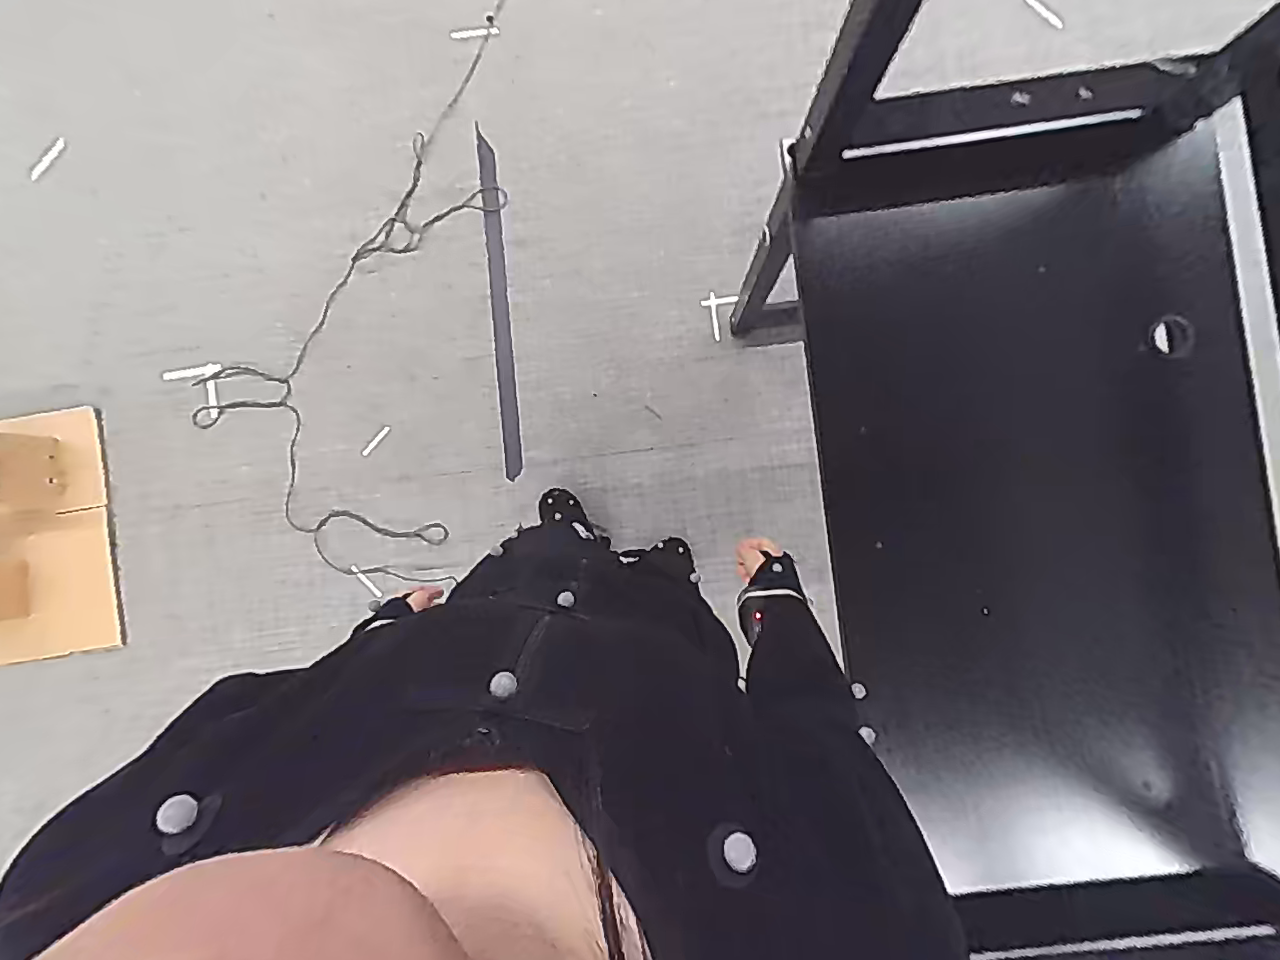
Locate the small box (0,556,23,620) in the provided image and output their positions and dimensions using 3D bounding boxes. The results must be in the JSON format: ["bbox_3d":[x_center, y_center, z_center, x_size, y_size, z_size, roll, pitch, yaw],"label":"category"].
[{"bbox_3d":[-1.829,0.300,1.451,0.168,0.176,0.179,-5,89,1],"label":"small box"}]

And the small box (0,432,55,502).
[{"bbox_3d":[-1.748,-0.034,1.461,0.179,0.176,0.168,-12,88,1],"label":"small box"}]
